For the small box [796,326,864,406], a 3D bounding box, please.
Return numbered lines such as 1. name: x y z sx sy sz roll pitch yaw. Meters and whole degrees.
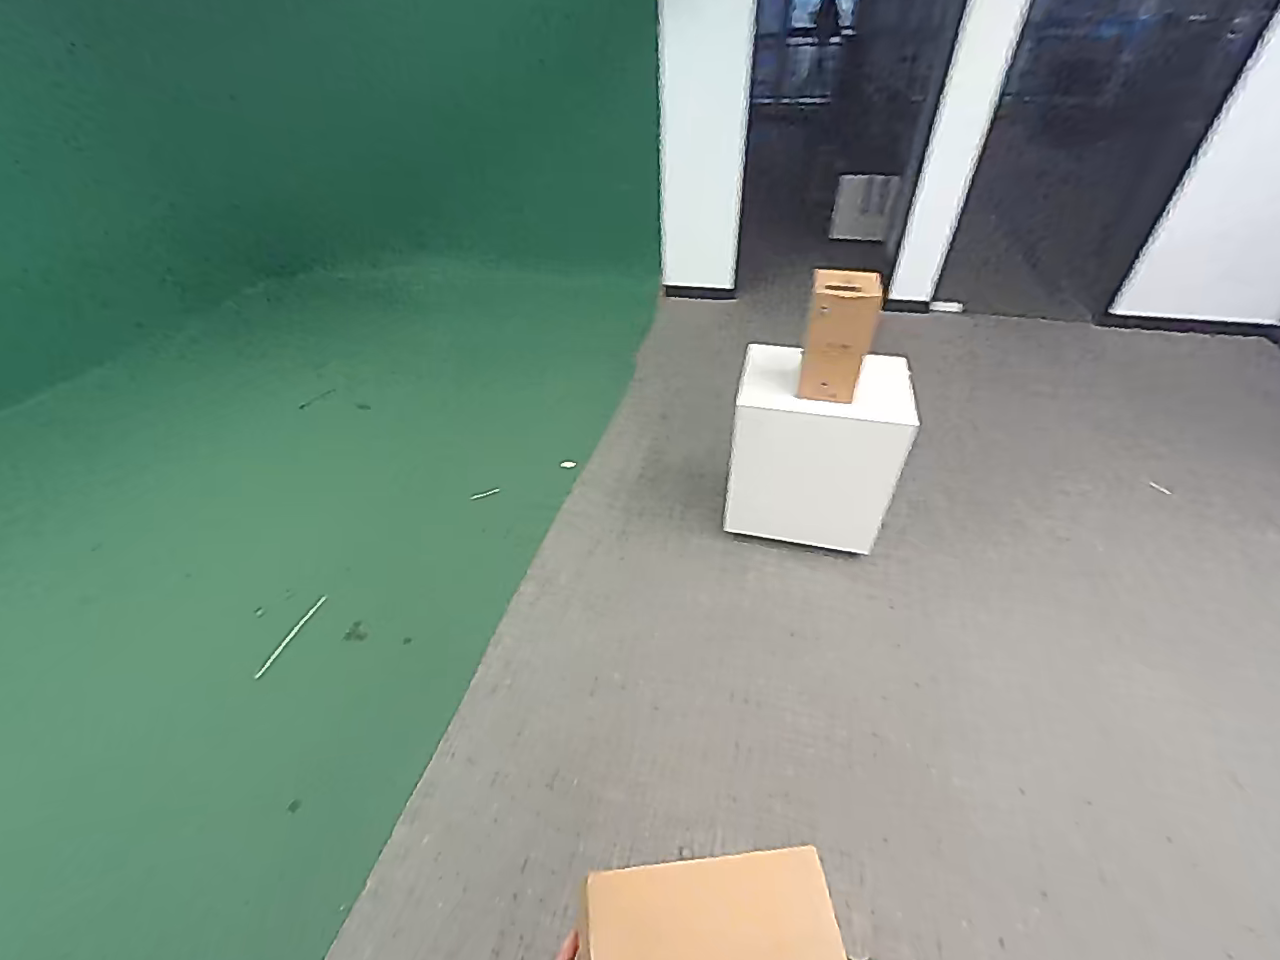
1. small box: 0.568 -0.346 1.634 0.168 0.176 0.179 8 41 12
